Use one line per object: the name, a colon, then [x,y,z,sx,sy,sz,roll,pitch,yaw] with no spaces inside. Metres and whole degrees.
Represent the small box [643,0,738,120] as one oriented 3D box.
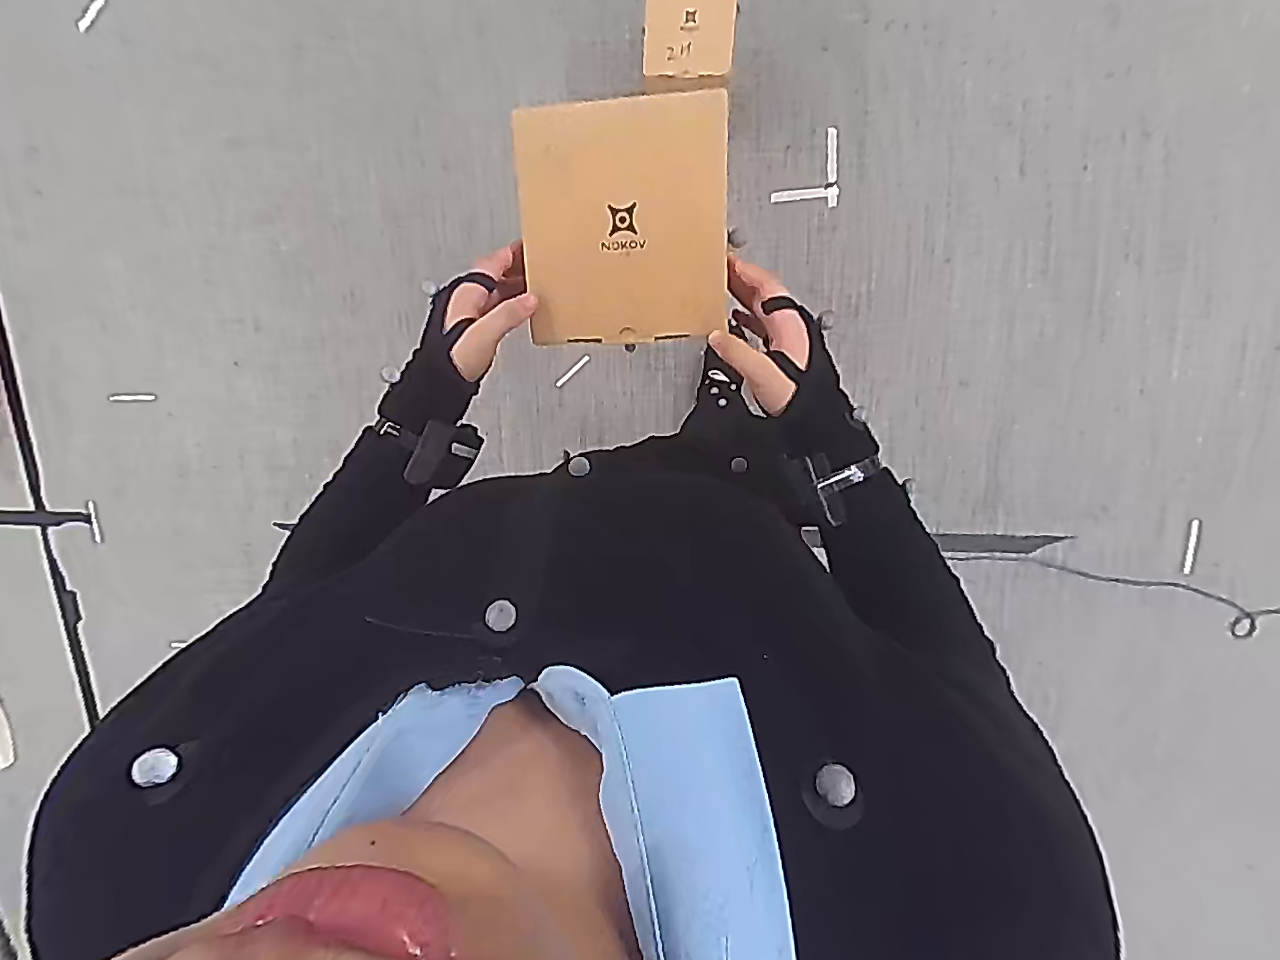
small box: [0.101,-0.842,1.058,0.168,0.176,0.179,5,102,7]
